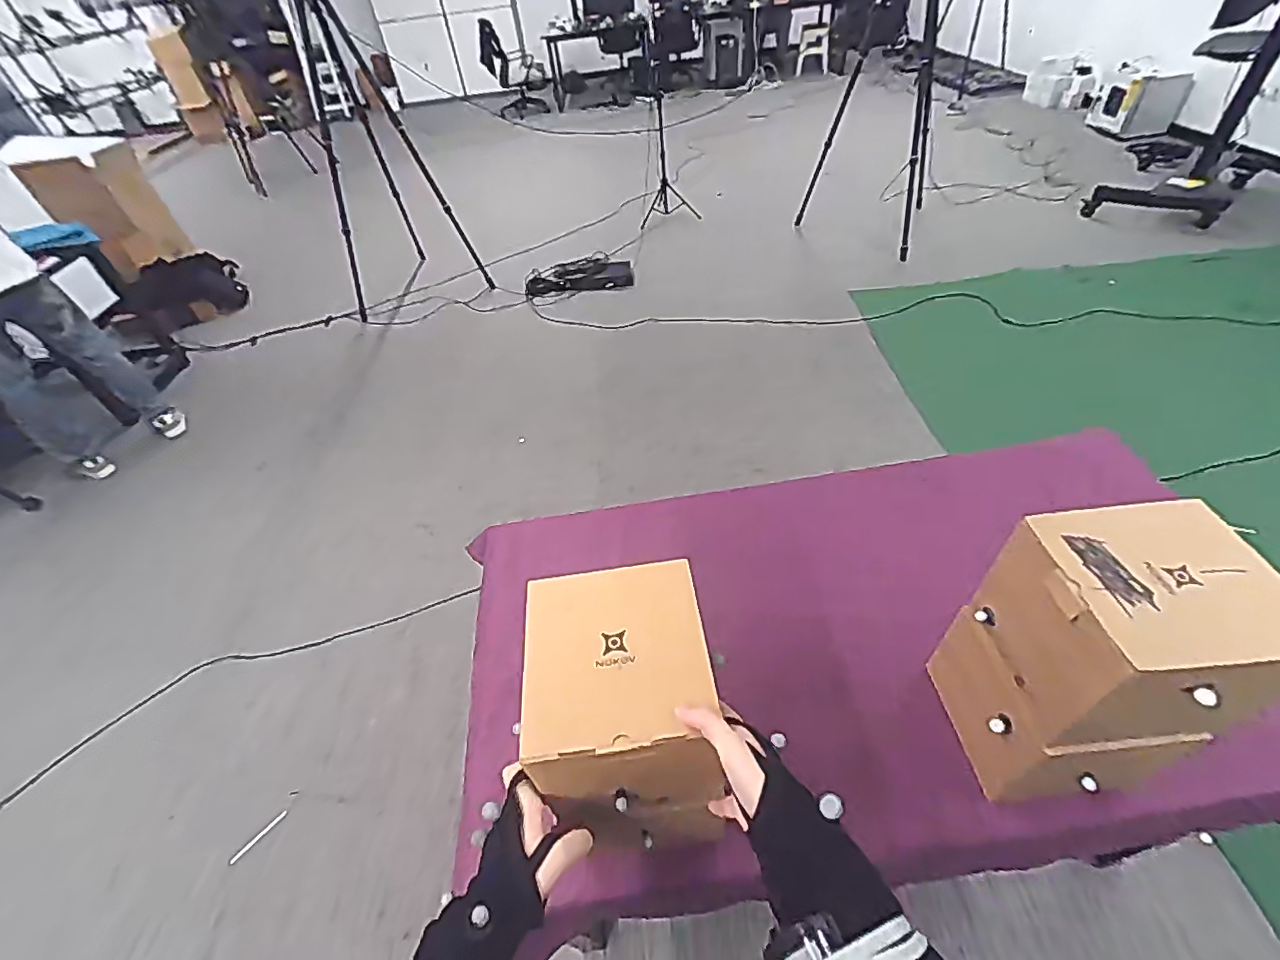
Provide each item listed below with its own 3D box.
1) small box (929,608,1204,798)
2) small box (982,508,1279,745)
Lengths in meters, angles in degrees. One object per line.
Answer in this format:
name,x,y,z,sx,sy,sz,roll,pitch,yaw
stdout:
small box,0.485,0.268,0.654,0.168,0.176,0.179,-6,45,1
small box,0.478,0.149,0.539,0.179,0.176,0.168,-5,46,1
